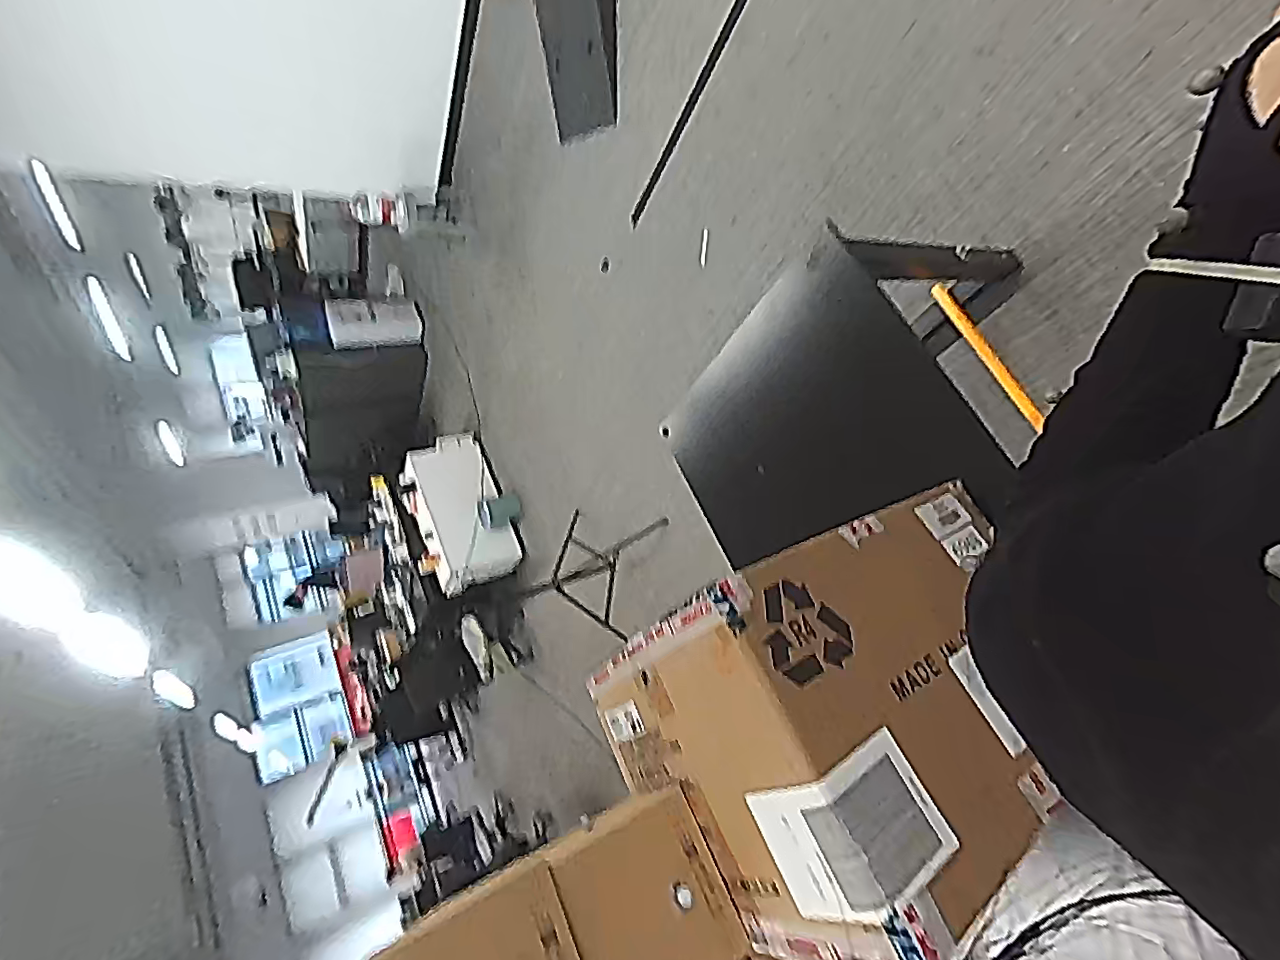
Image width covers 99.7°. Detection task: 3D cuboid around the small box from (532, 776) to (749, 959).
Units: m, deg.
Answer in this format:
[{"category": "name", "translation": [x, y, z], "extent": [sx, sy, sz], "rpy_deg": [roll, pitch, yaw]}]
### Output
[{"category": "small box", "translation": [-0.008, 0.466, 0.615], "extent": [0.168, 0.176, 0.179], "rpy_deg": [61, 146, 23]}]

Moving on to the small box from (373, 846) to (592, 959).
[{"category": "small box", "translation": [-0.146, 0.490, 0.526], "extent": [0.168, 0.176, 0.179], "rpy_deg": [60, 146, 24]}]
